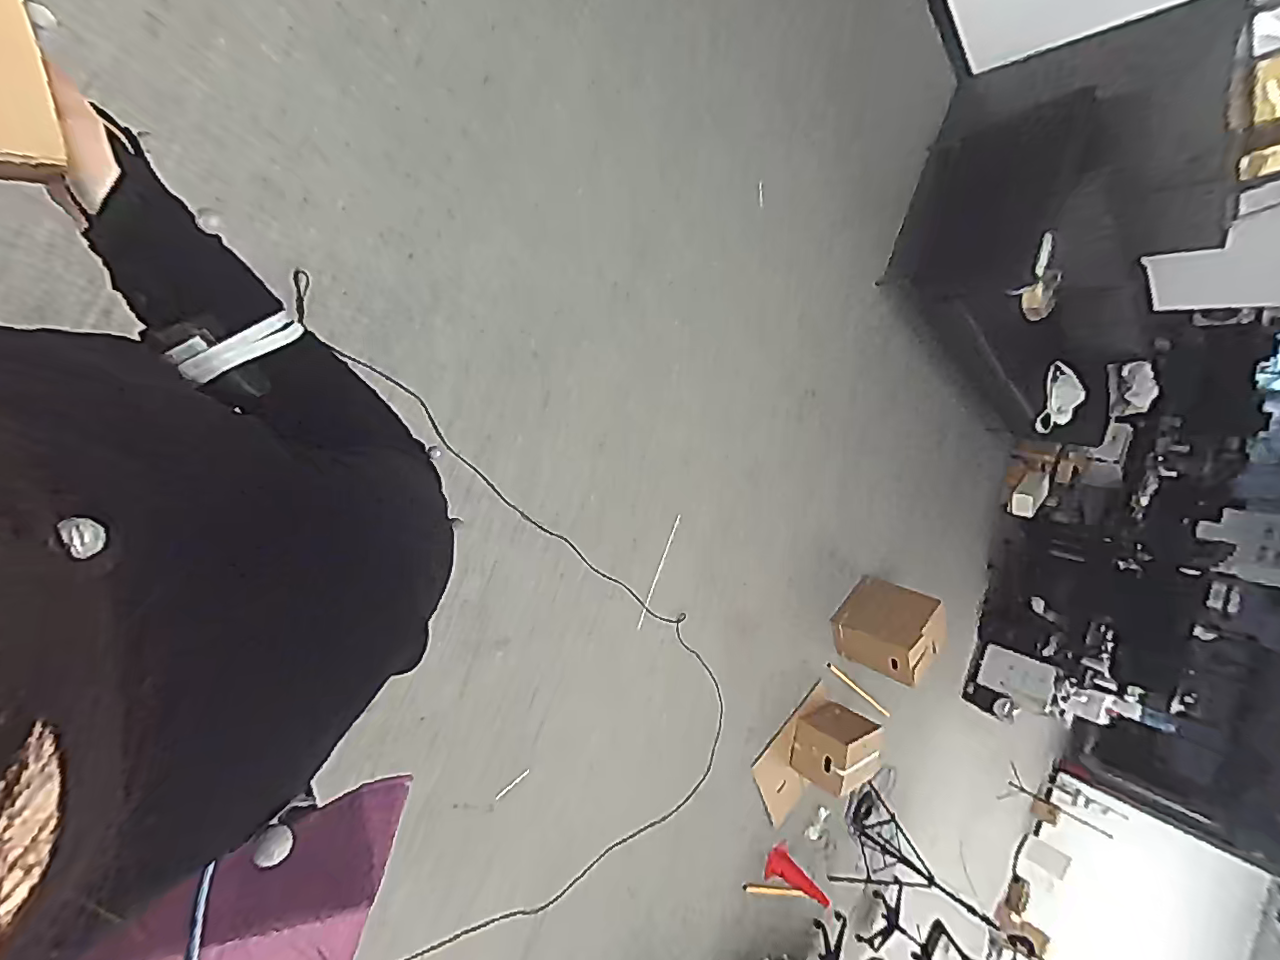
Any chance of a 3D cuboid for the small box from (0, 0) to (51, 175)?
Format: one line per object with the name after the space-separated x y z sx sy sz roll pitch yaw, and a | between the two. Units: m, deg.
-0.407 -0.249 0.241 0.168 0.176 0.179 -19 119 -45 | small box
